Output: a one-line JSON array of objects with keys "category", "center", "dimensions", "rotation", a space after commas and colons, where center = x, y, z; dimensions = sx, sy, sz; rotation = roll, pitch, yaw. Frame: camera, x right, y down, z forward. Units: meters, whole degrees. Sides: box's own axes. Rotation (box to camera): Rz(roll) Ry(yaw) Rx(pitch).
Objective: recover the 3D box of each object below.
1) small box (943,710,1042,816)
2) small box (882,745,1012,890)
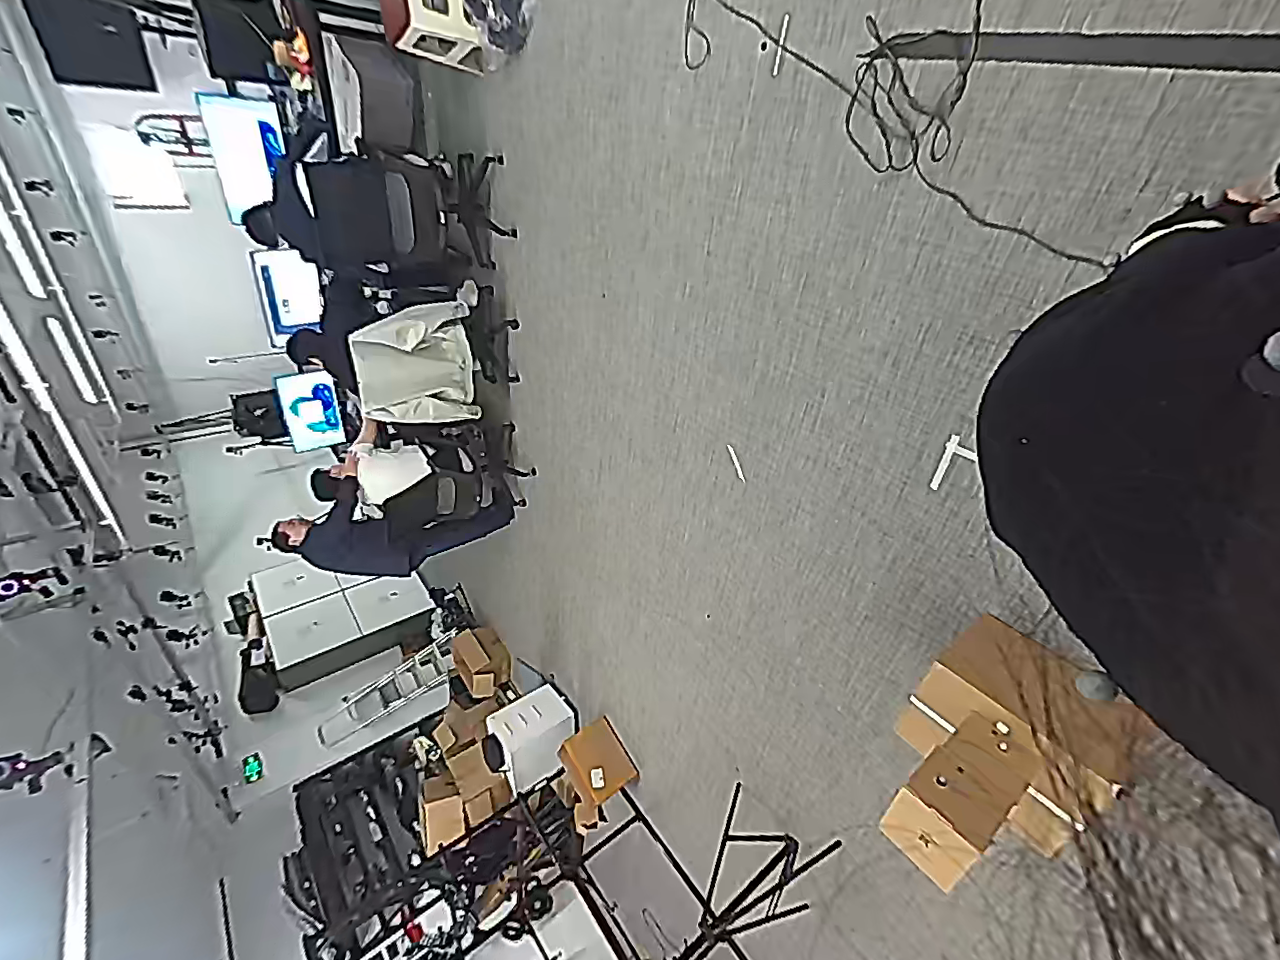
[{"category": "small box", "center": [0.797, 0.686, 1.268], "dimensions": [0.168, 0.176, 0.179], "rotation": [37, 133, 39]}, {"category": "small box", "center": [0.668, 0.723, 1.176], "dimensions": [0.168, 0.176, 0.179], "rotation": [37, 134, 40]}]
